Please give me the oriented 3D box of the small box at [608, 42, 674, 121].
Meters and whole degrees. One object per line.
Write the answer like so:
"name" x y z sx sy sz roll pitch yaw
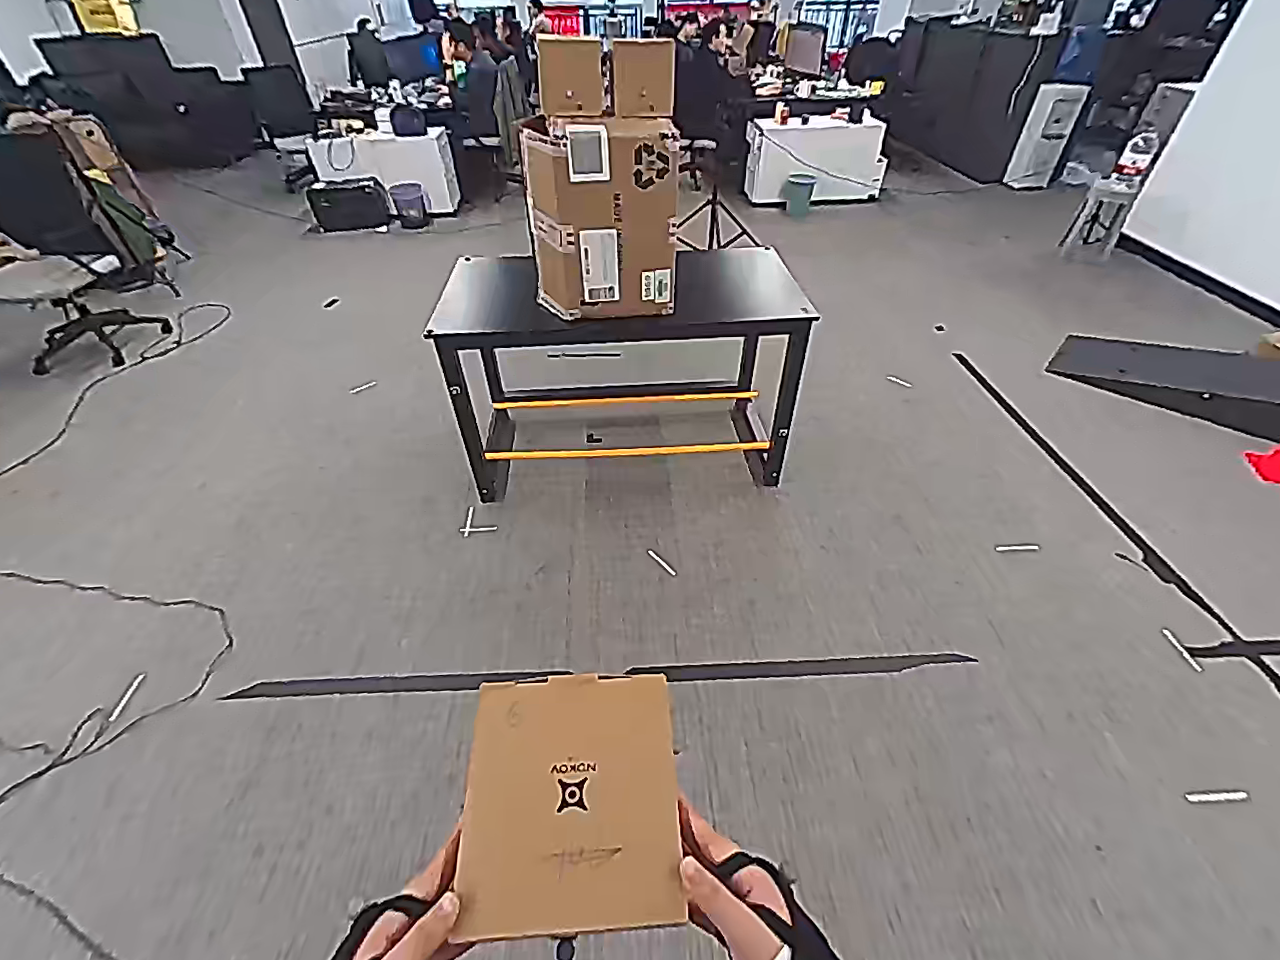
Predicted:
"small box" -0.002 -1.129 1.529 0.168 0.176 0.179 -5 41 -5

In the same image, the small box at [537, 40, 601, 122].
"small box" -0.200 -1.116 1.510 0.168 0.176 0.179 -5 41 -8

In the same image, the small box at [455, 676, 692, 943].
"small box" -0.052 0.294 0.483 0.168 0.176 0.179 -2 50 -4
